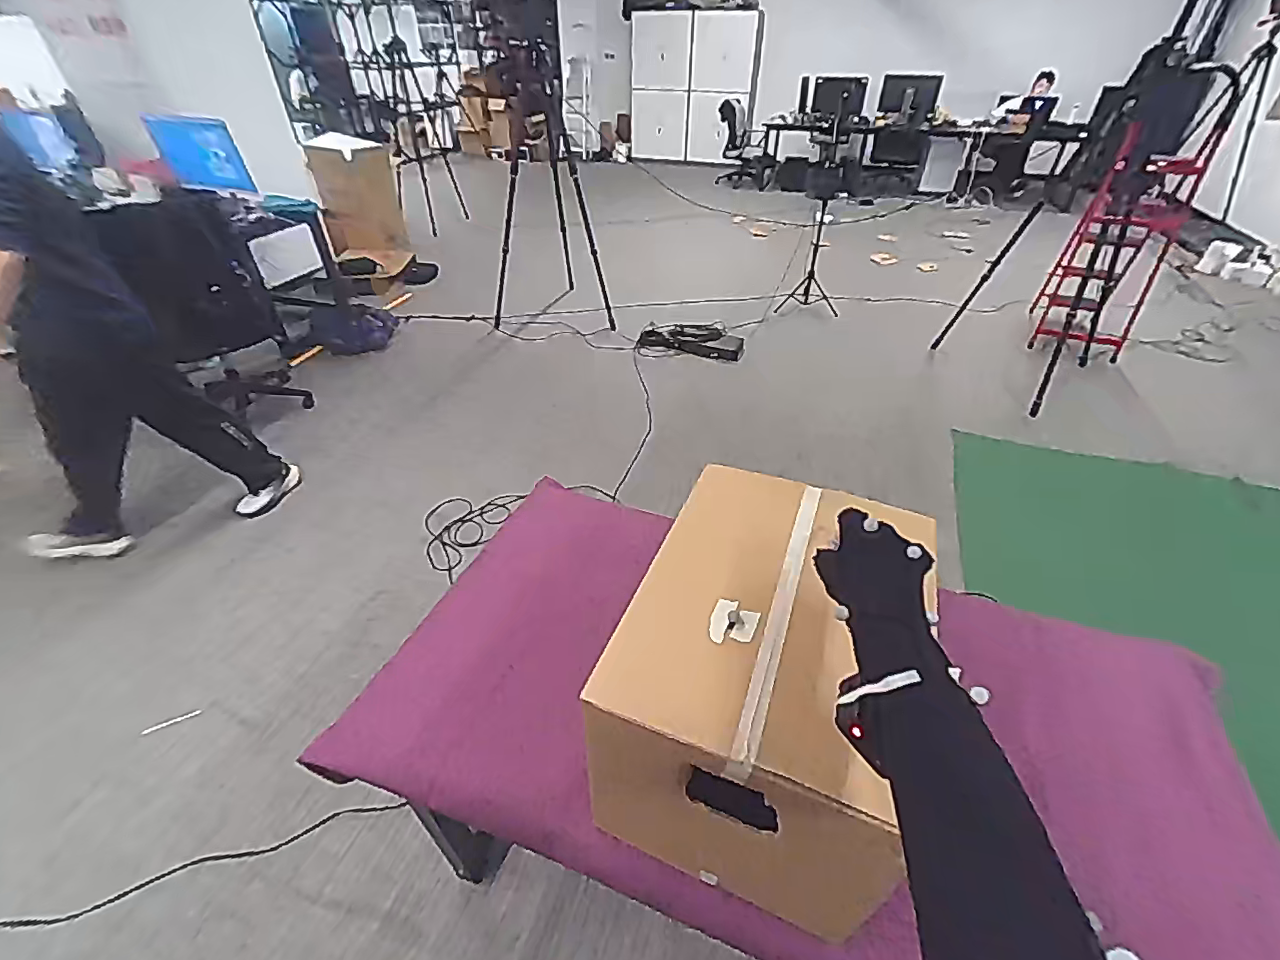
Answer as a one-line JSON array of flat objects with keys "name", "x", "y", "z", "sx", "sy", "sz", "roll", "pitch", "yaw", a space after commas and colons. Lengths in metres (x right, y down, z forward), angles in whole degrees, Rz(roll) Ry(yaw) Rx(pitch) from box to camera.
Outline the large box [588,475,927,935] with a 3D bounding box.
[{"name": "large box", "x": 0.159, "y": 0.259, "z": 0.712, "sx": 0.320, "sy": 0.320, "sz": 0.408, "roll": 15, "pitch": 41, "yaw": 18}]
